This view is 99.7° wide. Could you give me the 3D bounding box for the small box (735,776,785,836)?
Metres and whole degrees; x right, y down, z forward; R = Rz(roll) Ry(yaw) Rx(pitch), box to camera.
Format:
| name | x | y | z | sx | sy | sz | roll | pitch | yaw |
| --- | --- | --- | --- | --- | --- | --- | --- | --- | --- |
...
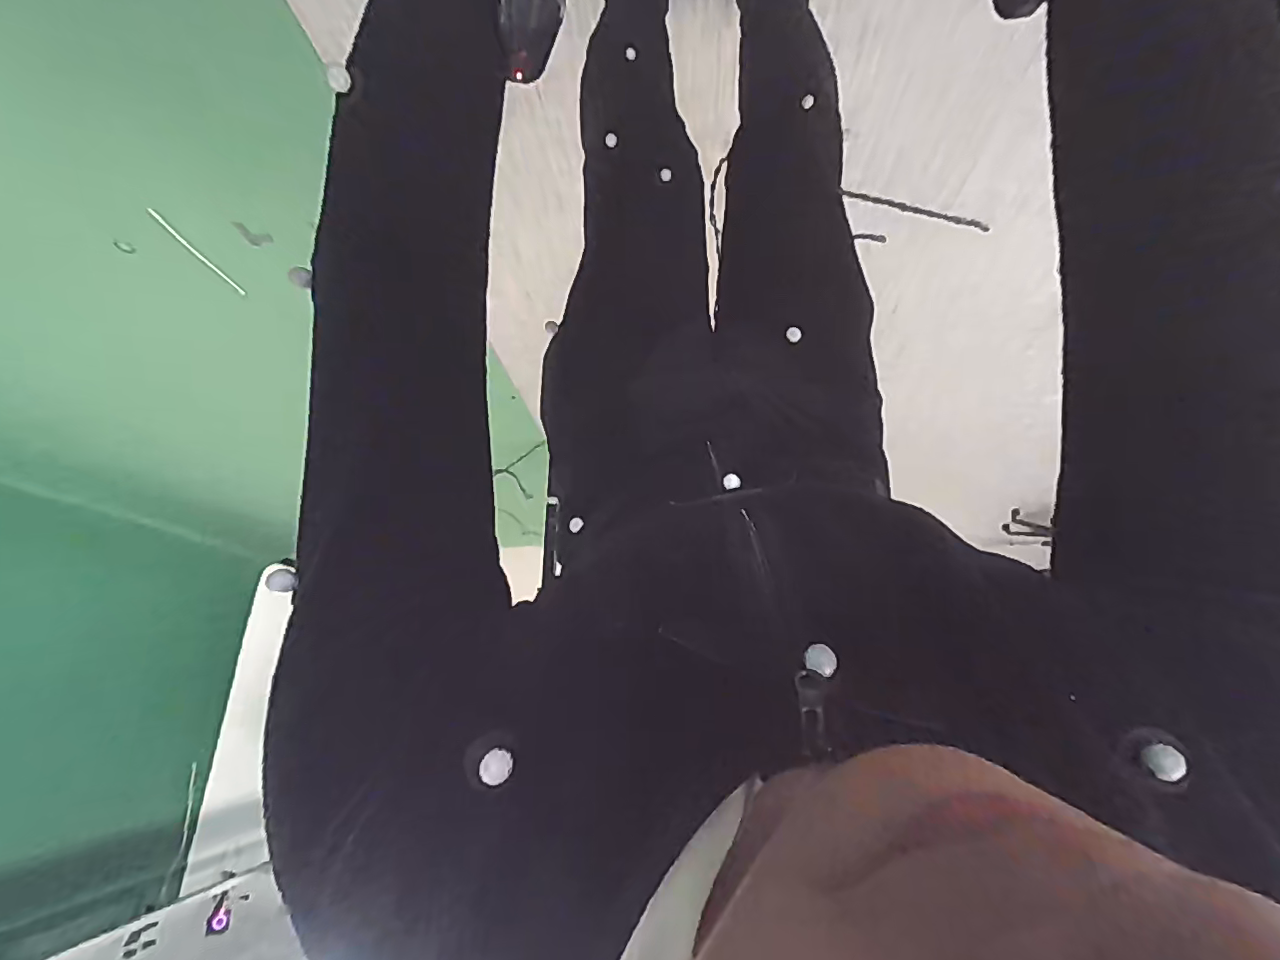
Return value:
| name | x | y | z | sx | sy | sz | roll | pitch | yaw |
| --- | --- | --- | --- | --- | --- | --- | --- | --- | --- |
| small box | 0.457 | 1.250 | 2.082 | 0.168 | 0.176 | 0.179 | -2 | 161 | 5 |
